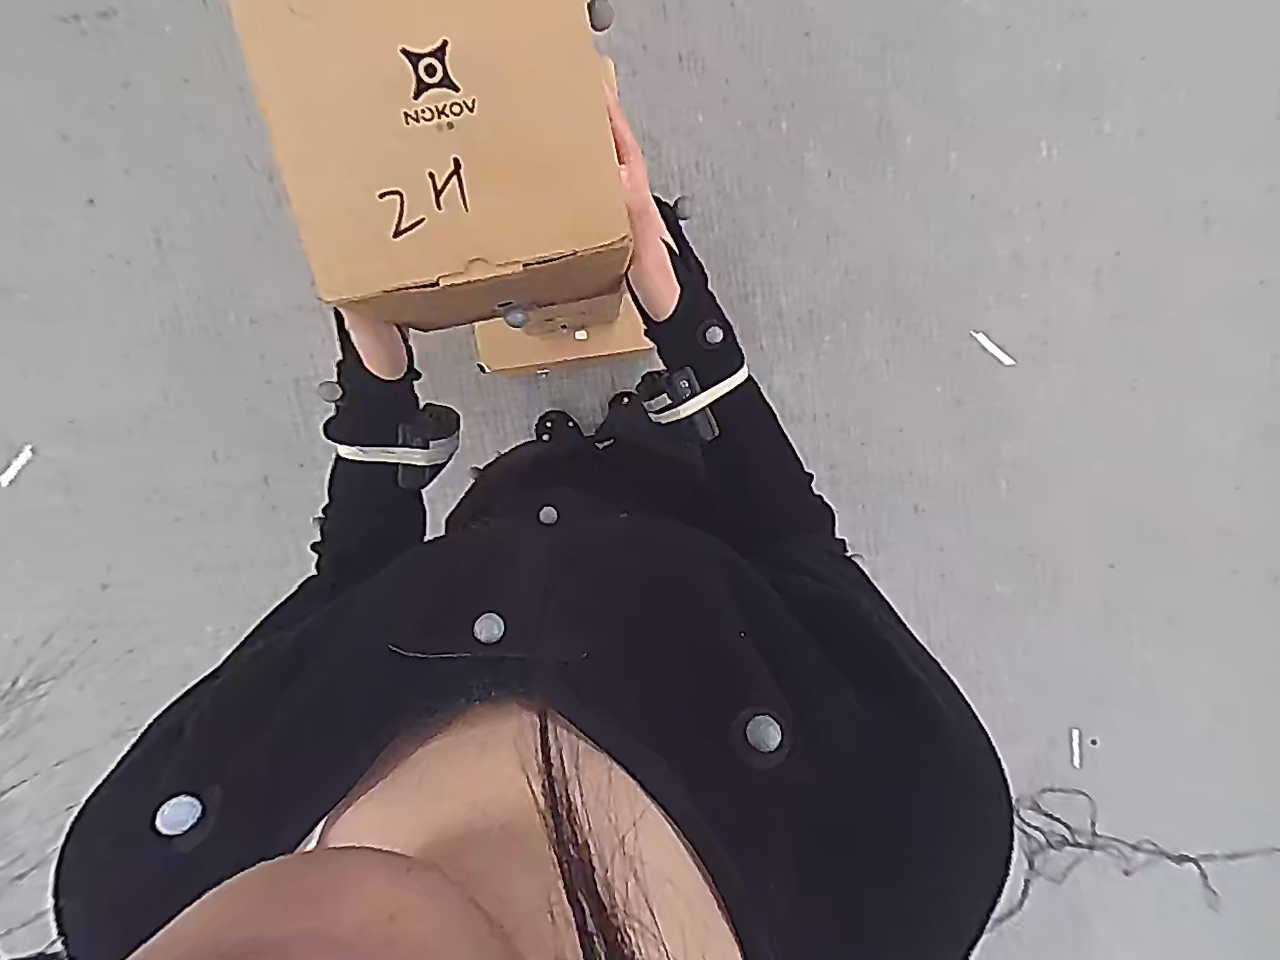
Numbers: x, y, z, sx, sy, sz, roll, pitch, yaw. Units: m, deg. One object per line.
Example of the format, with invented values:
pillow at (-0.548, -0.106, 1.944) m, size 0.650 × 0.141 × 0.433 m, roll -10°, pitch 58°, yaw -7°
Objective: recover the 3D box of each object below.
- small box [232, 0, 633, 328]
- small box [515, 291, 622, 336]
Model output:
small box at (-0.105, -0.204, 0.340) m, size 0.168 × 0.176 × 0.179 m, roll -12°, pitch 102°, yaw -2°
small box at (-0.128, -0.344, 0.885) m, size 0.168 × 0.176 × 0.179 m, roll -10°, pitch 101°, yaw -3°
